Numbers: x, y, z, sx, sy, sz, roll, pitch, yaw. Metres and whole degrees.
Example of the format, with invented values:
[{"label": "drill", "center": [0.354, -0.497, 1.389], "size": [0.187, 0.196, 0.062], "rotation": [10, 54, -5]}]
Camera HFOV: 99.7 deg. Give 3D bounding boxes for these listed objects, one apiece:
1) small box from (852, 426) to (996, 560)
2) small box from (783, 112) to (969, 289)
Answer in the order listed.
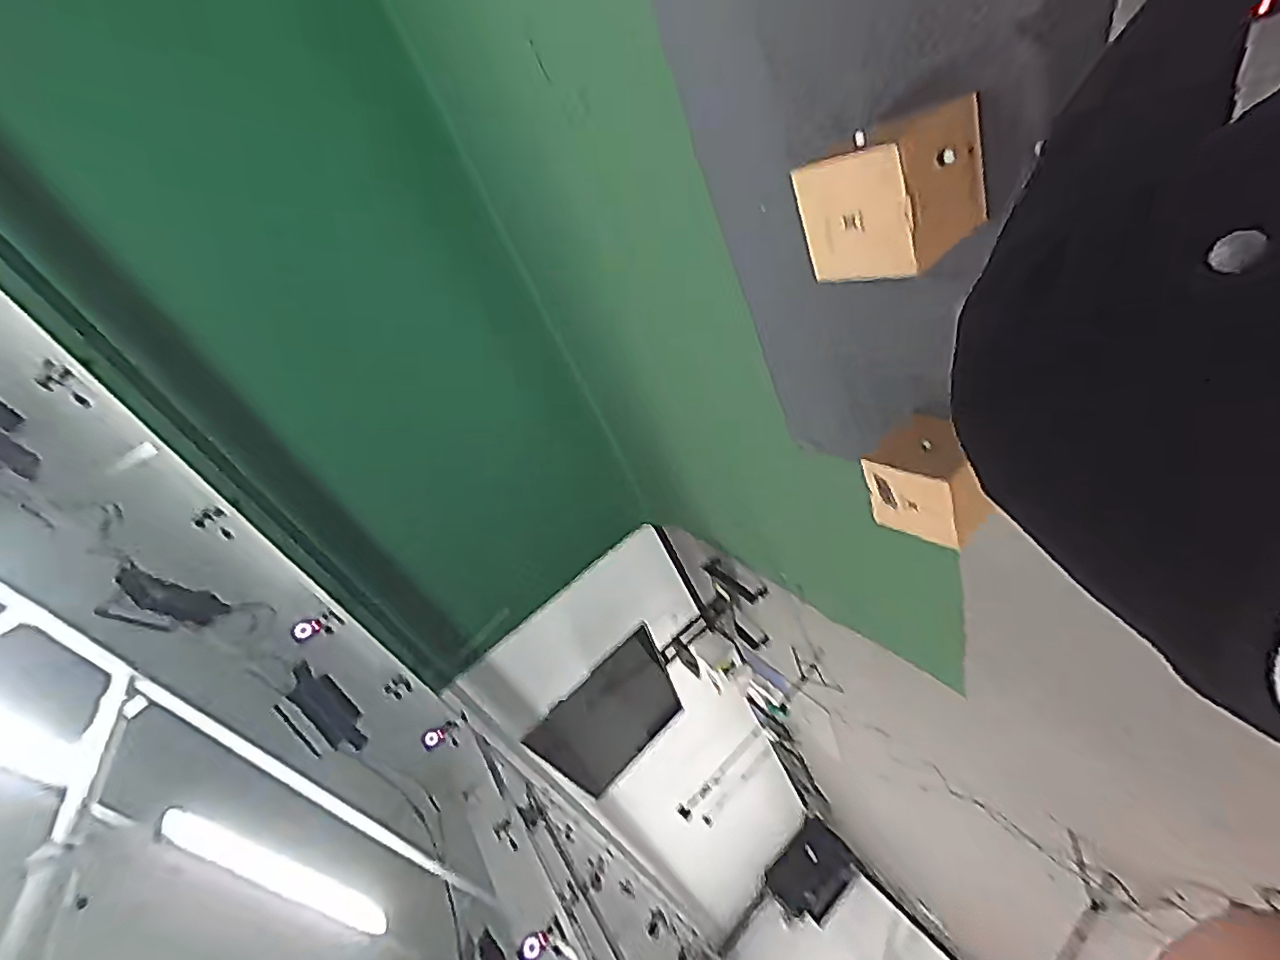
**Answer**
[{"label": "small box", "center": [0.544, 0.015, 1.034], "size": [0.179, 0.176, 0.168], "rotation": [24, 147, 53]}, {"label": "small box", "center": [0.342, -0.391, 0.773], "size": [0.179, 0.176, 0.168], "rotation": [27, 148, 55]}]
